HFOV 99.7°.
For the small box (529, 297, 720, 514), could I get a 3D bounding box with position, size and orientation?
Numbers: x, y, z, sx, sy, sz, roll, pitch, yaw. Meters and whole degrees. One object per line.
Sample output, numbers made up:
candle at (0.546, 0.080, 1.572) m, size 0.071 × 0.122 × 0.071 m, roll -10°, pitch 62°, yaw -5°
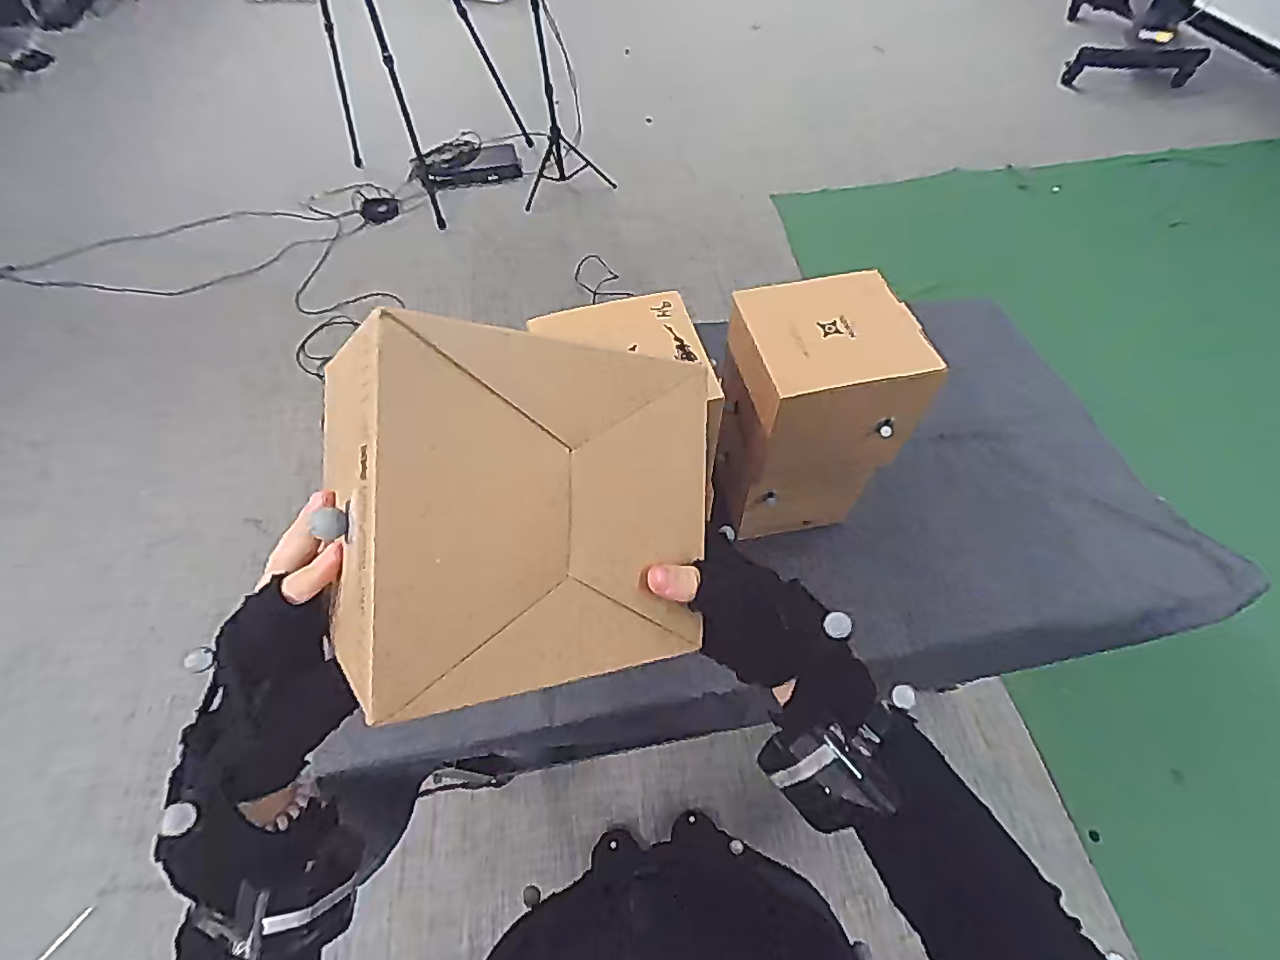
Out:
small box at (-0.017, -0.079, 0.633) m, size 0.179 × 0.176 × 0.168 m, roll -14°, pitch 59°, yaw -5°
